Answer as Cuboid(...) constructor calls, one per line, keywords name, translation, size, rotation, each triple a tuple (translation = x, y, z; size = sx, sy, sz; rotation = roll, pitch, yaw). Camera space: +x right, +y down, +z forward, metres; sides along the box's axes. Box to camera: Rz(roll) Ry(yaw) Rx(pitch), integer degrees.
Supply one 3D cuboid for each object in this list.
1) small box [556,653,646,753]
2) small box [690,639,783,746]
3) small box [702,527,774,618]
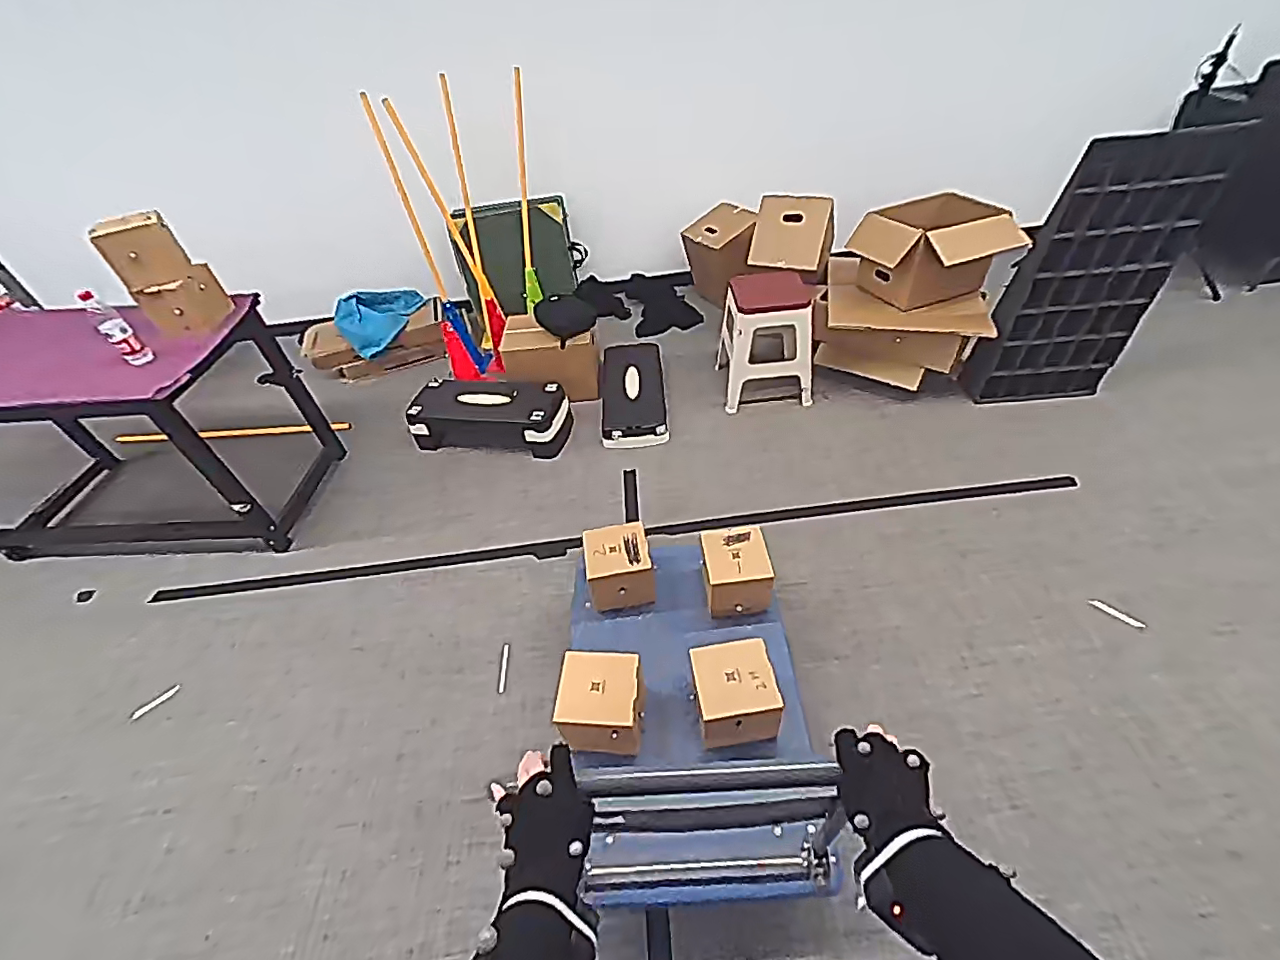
Cuboid(name="small box", translation=(-0.084, 0.523, 1.267), size=(0.179, 0.176, 0.168), rotation=(0, 45, 6))
Cuboid(name="small box", translation=(0.218, 0.496, 1.254), size=(0.179, 0.176, 0.168), rotation=(-9, 45, -1))
Cuboid(name="small box", translation=(0.262, 0.255, 1.490), size=(0.168, 0.176, 0.179), rotation=(-7, 46, 1))
